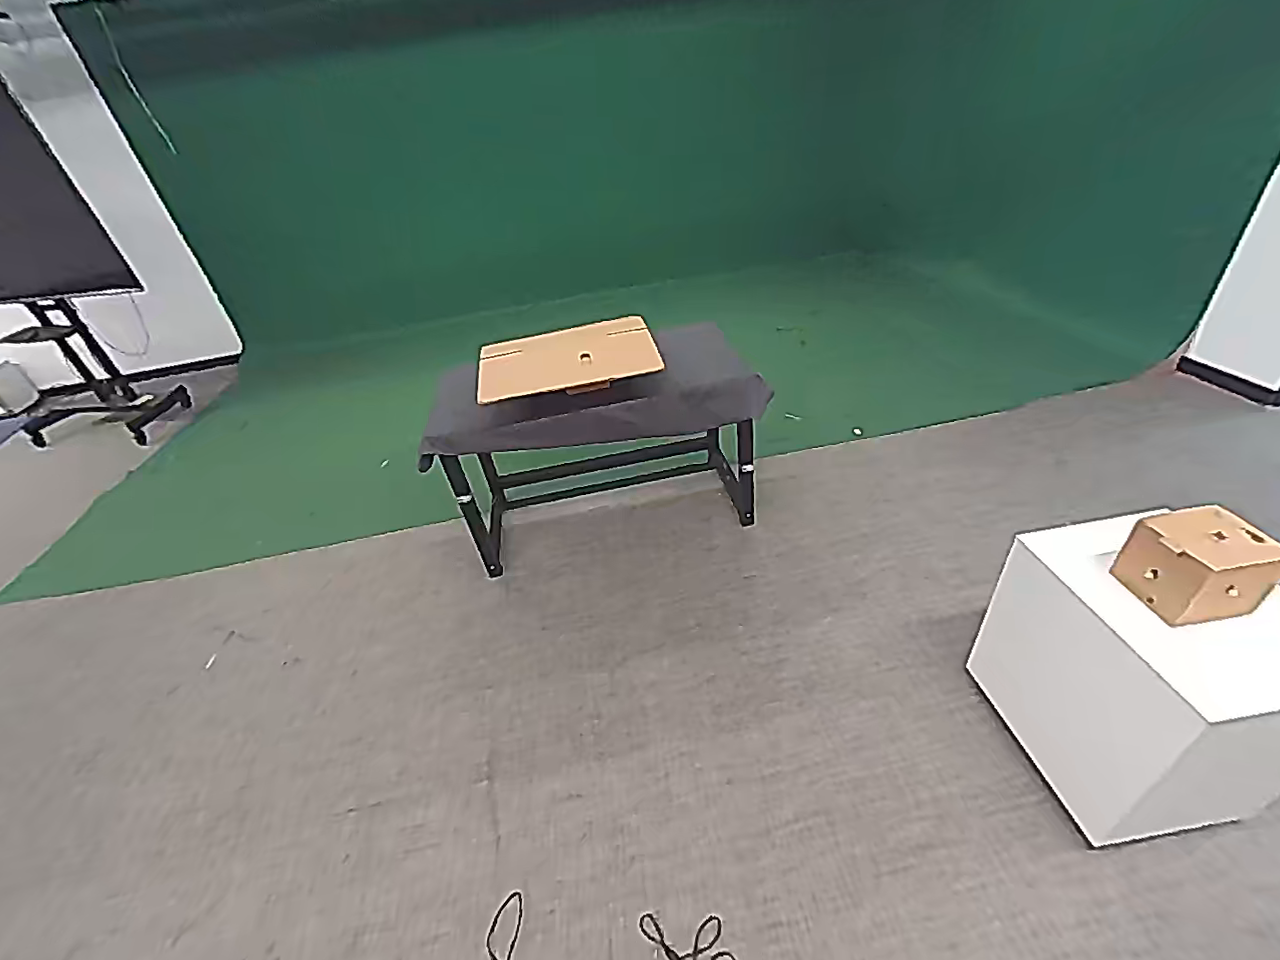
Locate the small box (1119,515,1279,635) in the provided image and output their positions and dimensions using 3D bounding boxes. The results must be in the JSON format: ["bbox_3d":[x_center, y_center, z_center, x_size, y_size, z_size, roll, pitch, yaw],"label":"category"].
[{"bbox_3d":[1.159,0.199,1.126,0.179,0.176,0.168,-10,35,-4],"label":"small box"}]
